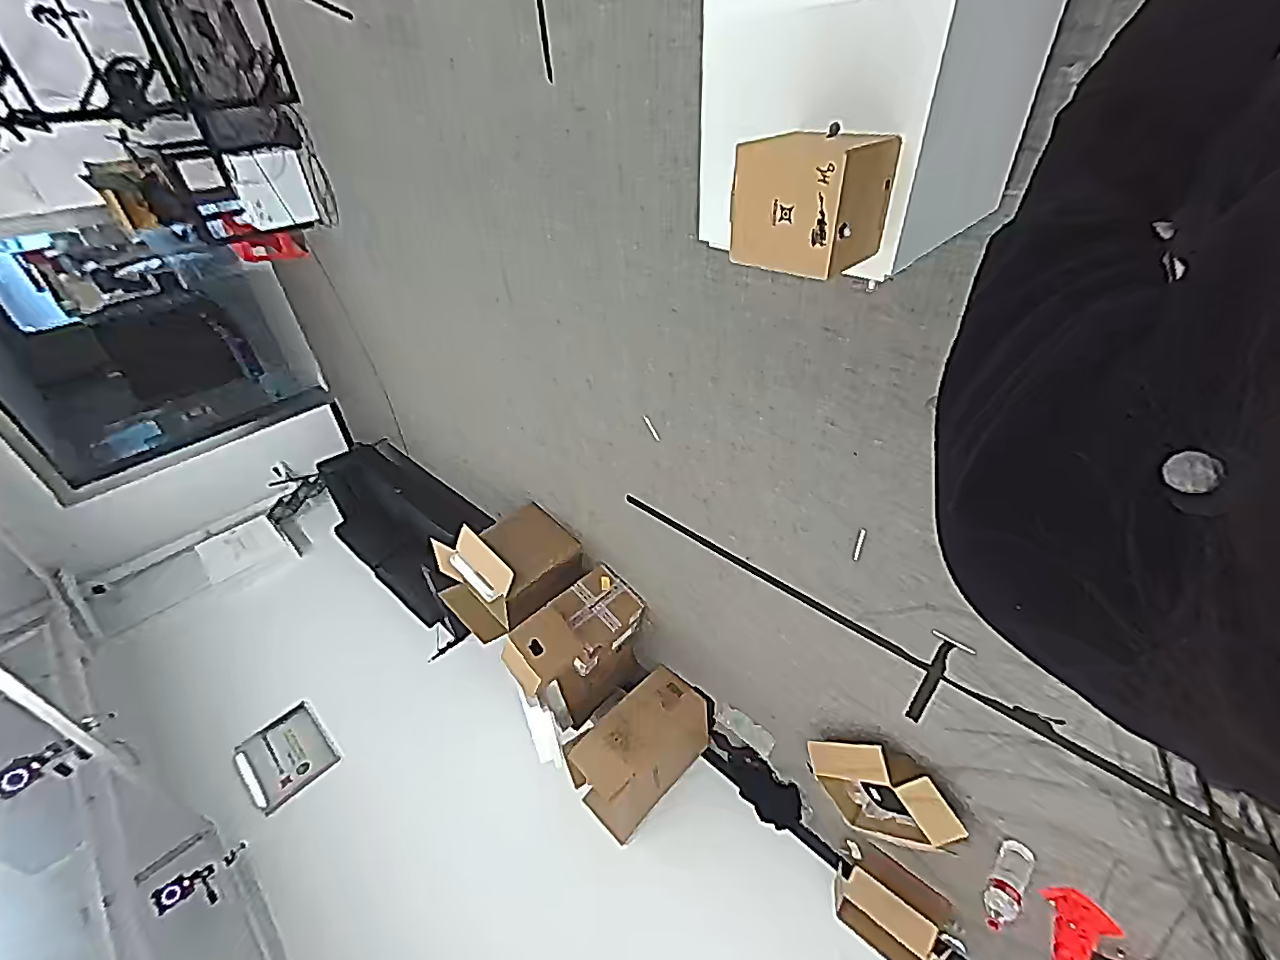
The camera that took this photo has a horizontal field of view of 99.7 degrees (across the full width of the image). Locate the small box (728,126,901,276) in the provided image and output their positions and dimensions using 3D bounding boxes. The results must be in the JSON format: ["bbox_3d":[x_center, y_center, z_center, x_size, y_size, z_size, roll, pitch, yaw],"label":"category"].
[{"bbox_3d":[0.257,-0.427,0.815,0.179,0.176,0.168,30,139,35],"label":"small box"}]
